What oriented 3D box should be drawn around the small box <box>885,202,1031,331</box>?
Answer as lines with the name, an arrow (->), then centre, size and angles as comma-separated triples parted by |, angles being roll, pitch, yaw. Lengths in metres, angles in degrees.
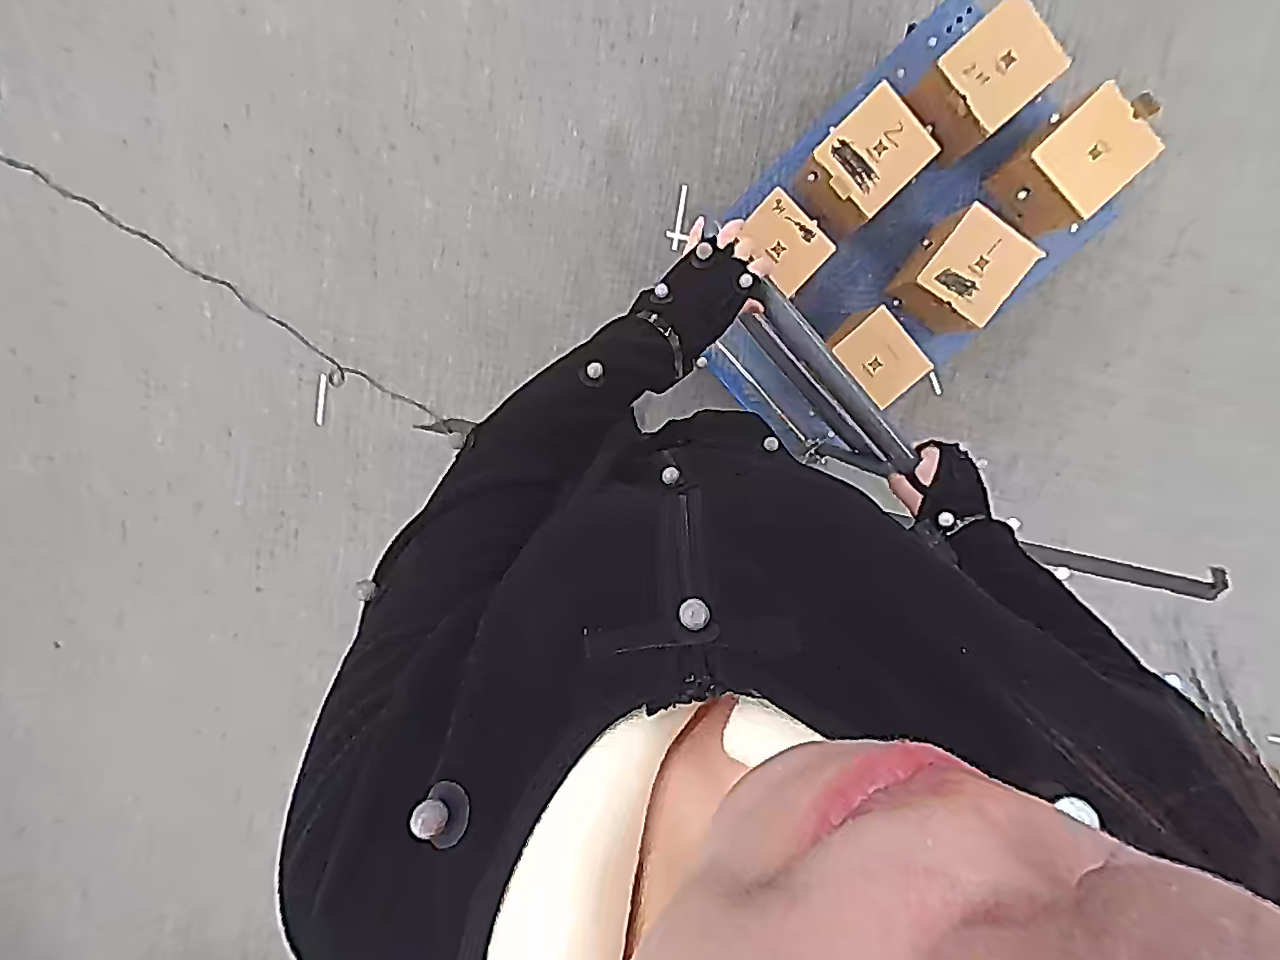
small box -> 0.641, -0.429, 1.122 | 0.168, 0.176, 0.179 | 35, 100, -5

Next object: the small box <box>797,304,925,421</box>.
small box -> 0.460, -0.250, 1.166 | 0.179, 0.176, 0.168 | -41, 98, 9

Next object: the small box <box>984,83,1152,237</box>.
small box -> 0.830, -0.620, 1.077 | 0.168, 0.176, 0.179 | 44, 99, -6

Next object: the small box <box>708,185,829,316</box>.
small box -> 0.256, -0.463, 1.128 | 0.168, 0.176, 0.179 | 44, 100, -7

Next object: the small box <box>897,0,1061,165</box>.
small box -> 0.646, -0.764, 1.053 | 0.179, 0.176, 0.168 | -40, 97, 10
